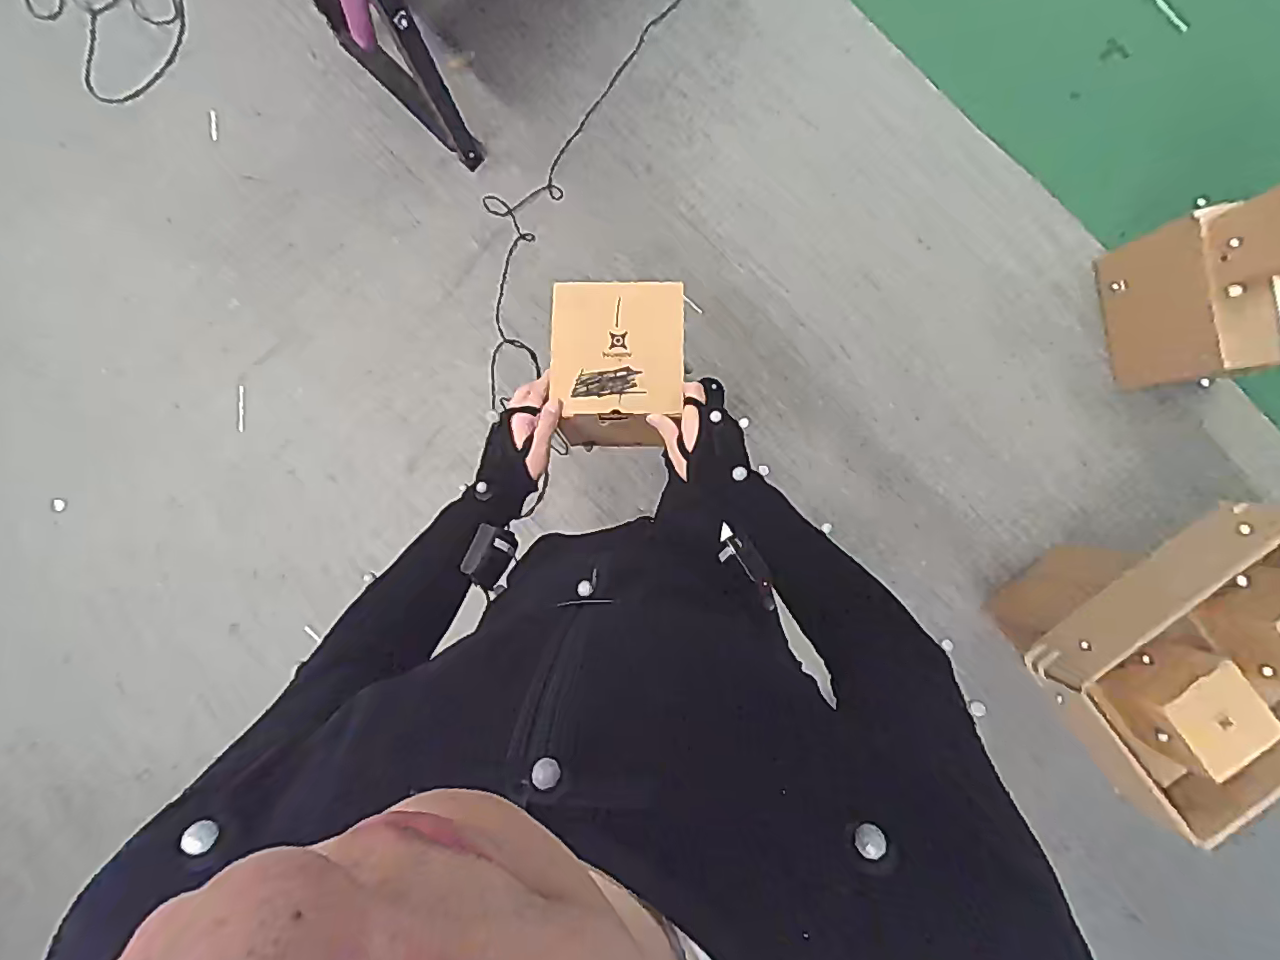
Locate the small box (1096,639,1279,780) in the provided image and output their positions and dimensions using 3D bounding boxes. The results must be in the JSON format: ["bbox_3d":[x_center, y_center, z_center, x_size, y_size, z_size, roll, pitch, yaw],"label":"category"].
[{"bbox_3d":[1.113,0.459,1.111,0.168,0.176,0.179,-36,88,0],"label":"small box"}]

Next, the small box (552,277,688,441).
[{"bbox_3d":[-0.021,-0.153,0.736,0.168,0.176,0.179,0,80,1],"label":"small box"}]

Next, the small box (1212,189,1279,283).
[{"bbox_3d":[1.475,-0.567,1.225,0.179,0.176,0.168,-9,89,2],"label":"small box"}]
